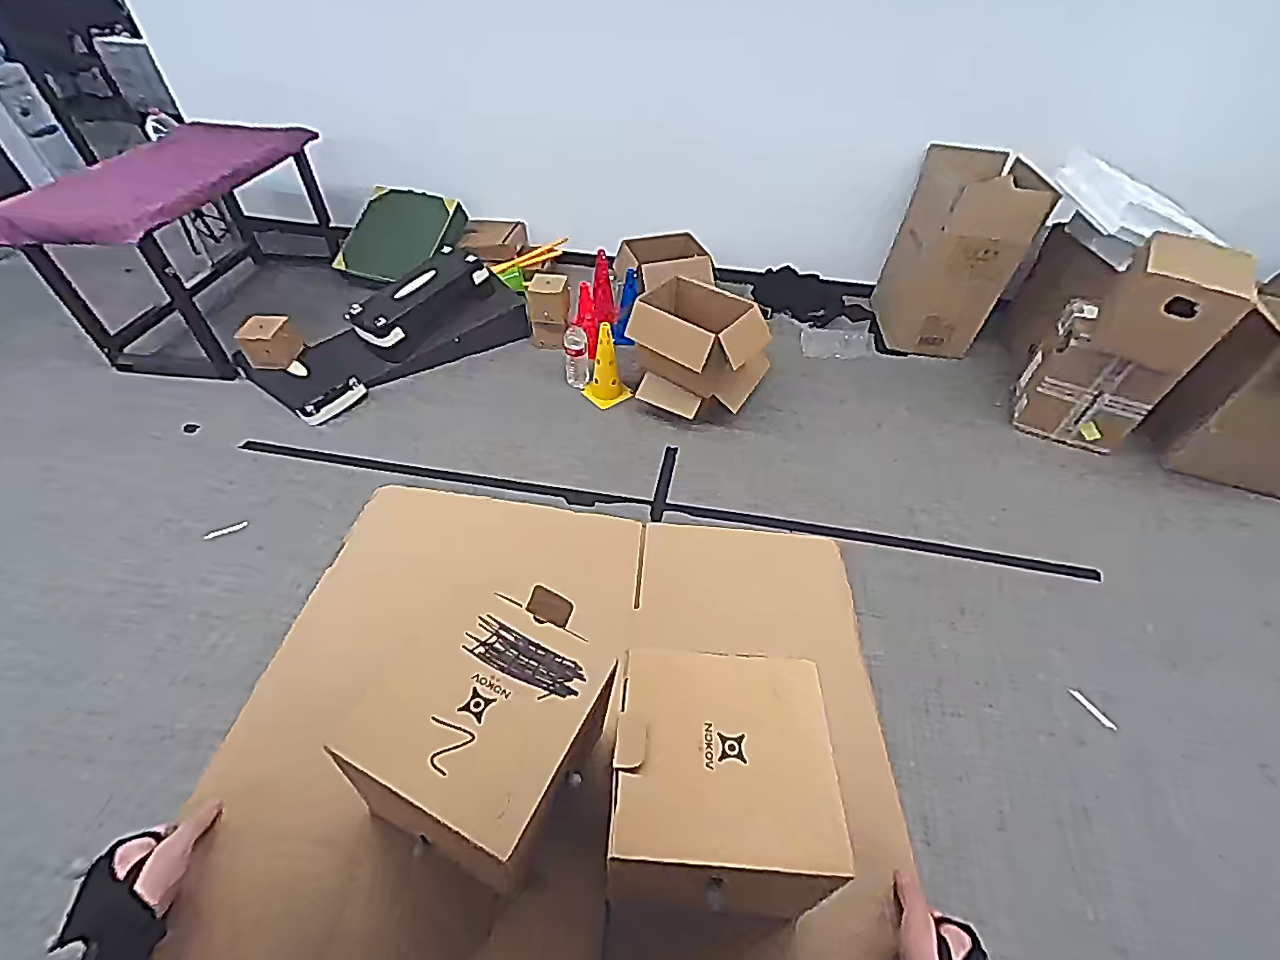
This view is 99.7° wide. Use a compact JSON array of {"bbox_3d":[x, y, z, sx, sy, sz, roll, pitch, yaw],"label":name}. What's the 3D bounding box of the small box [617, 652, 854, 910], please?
[{"bbox_3d":[0.073,0.282,0.505,0.179,0.176,0.168,3,44,1],"label":"small box"}]
